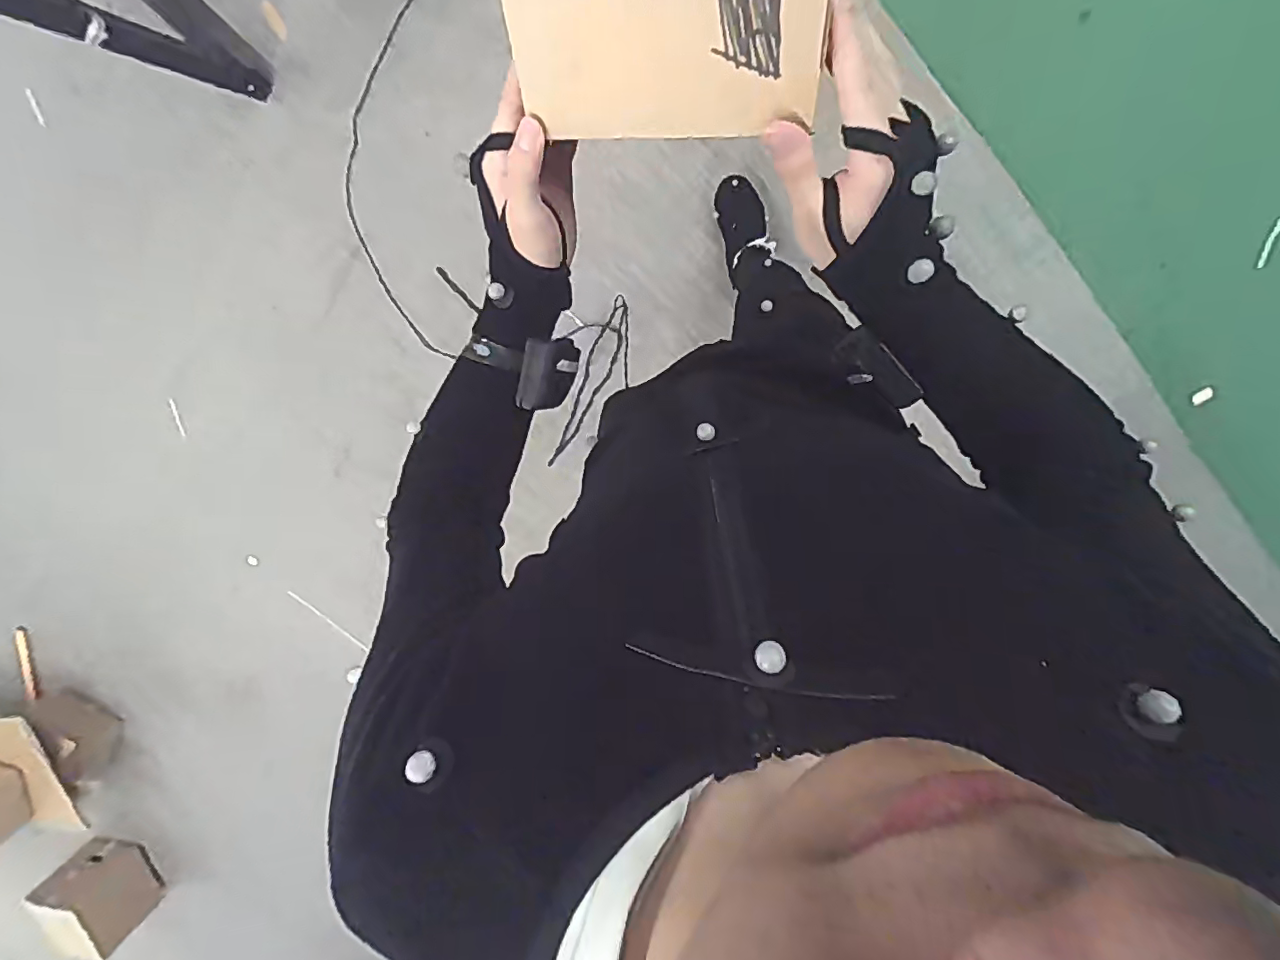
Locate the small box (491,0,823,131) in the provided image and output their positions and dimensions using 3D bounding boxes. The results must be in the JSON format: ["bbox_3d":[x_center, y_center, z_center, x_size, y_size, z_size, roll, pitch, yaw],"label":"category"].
[{"bbox_3d":[0.020,-0.322,0.308,0.179,0.176,0.168,8,141,14],"label":"small box"}]
